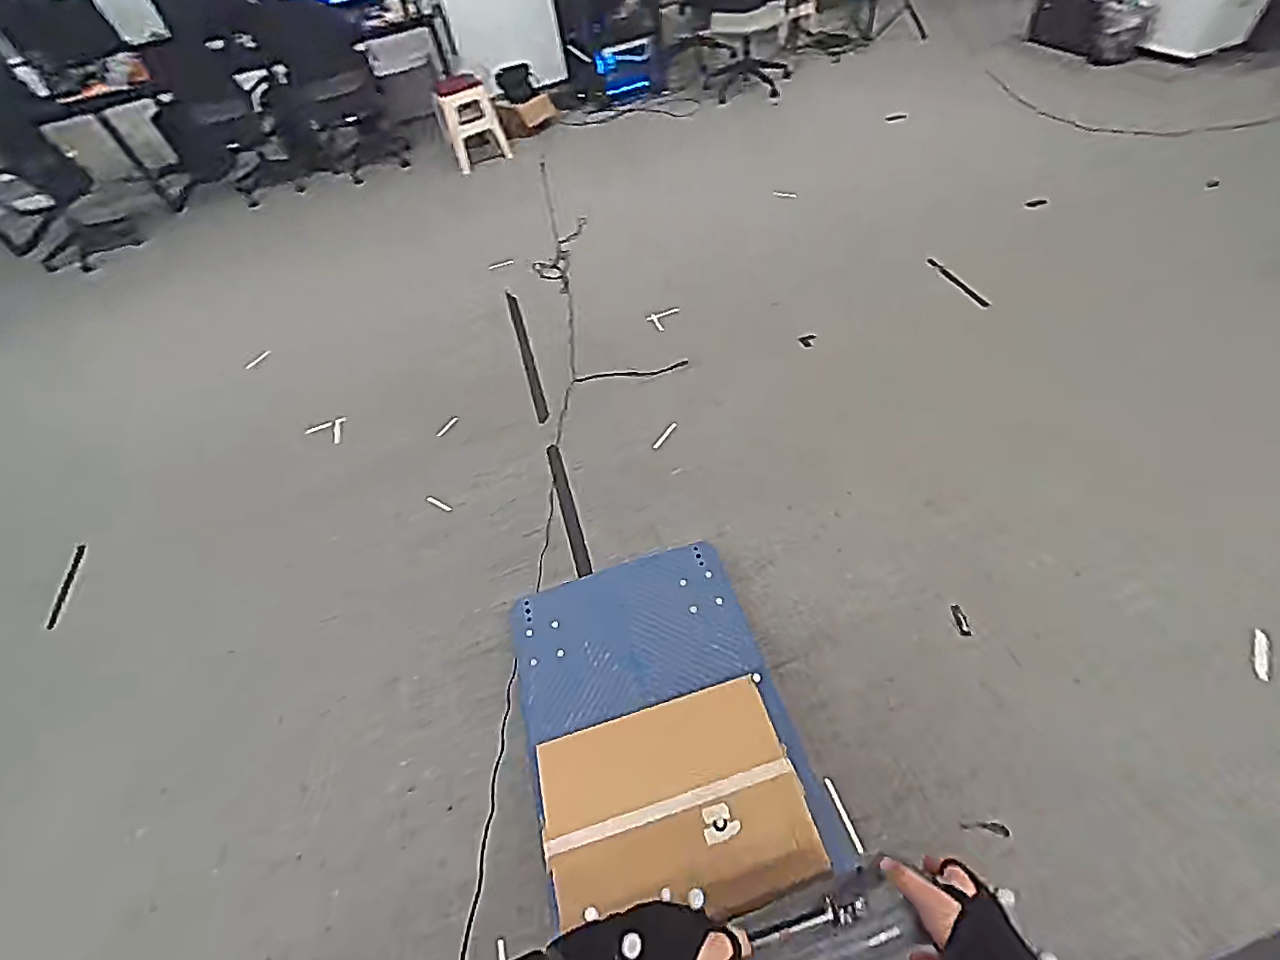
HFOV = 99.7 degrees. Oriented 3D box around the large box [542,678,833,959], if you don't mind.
[{"bbox_3d":[0.076,0.622,0.981,0.408,0.320,0.320,-17,51,-4],"label":"large box"}]
